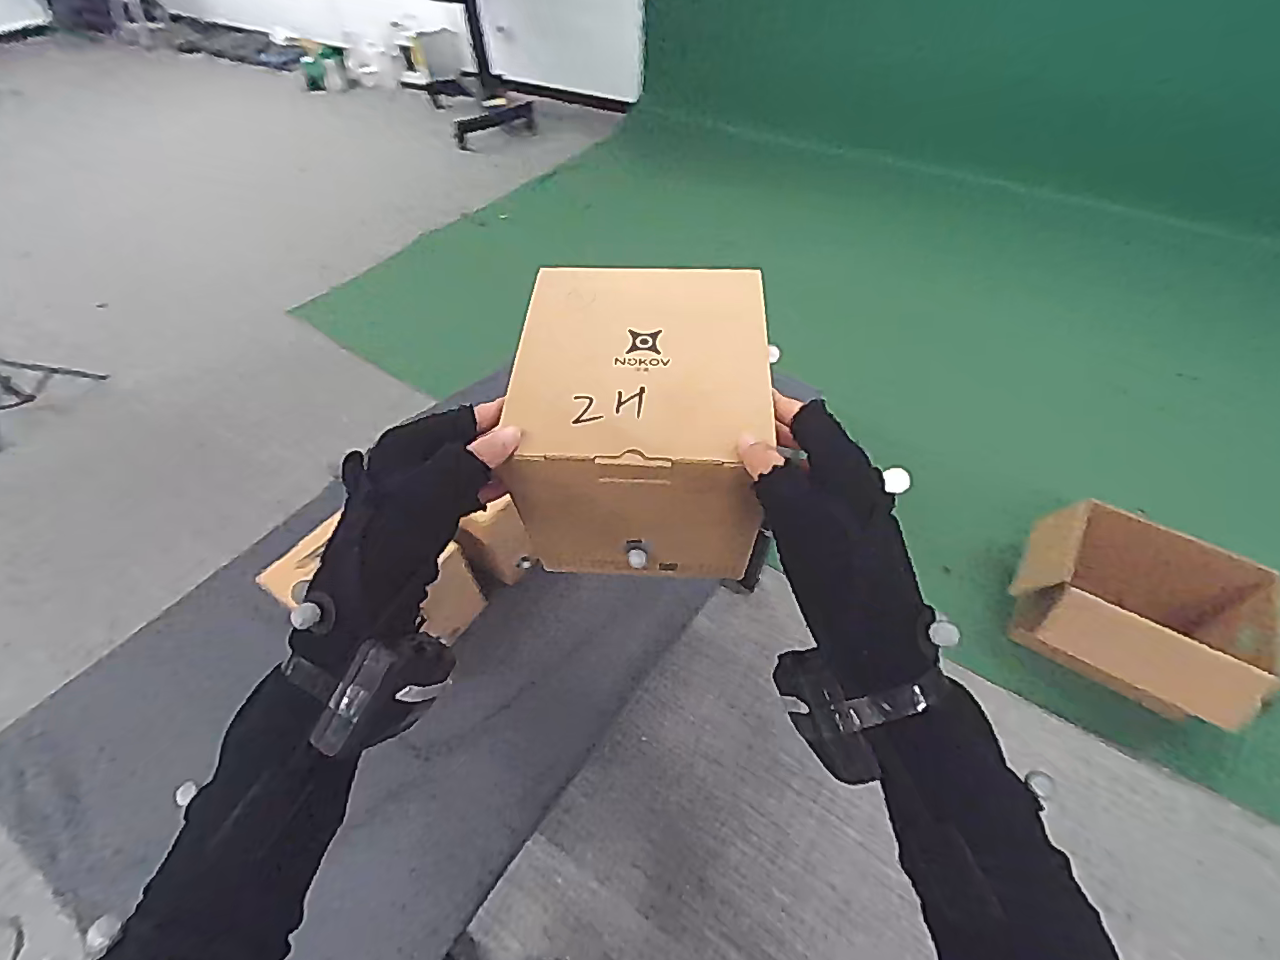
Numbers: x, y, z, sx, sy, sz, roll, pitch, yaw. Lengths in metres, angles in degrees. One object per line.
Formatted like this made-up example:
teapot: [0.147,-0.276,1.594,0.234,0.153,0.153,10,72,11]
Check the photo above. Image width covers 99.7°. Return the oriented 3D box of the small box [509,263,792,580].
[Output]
small box: [0.014,-0.040,0.417,0.168,0.176,0.179,2,58,5]
